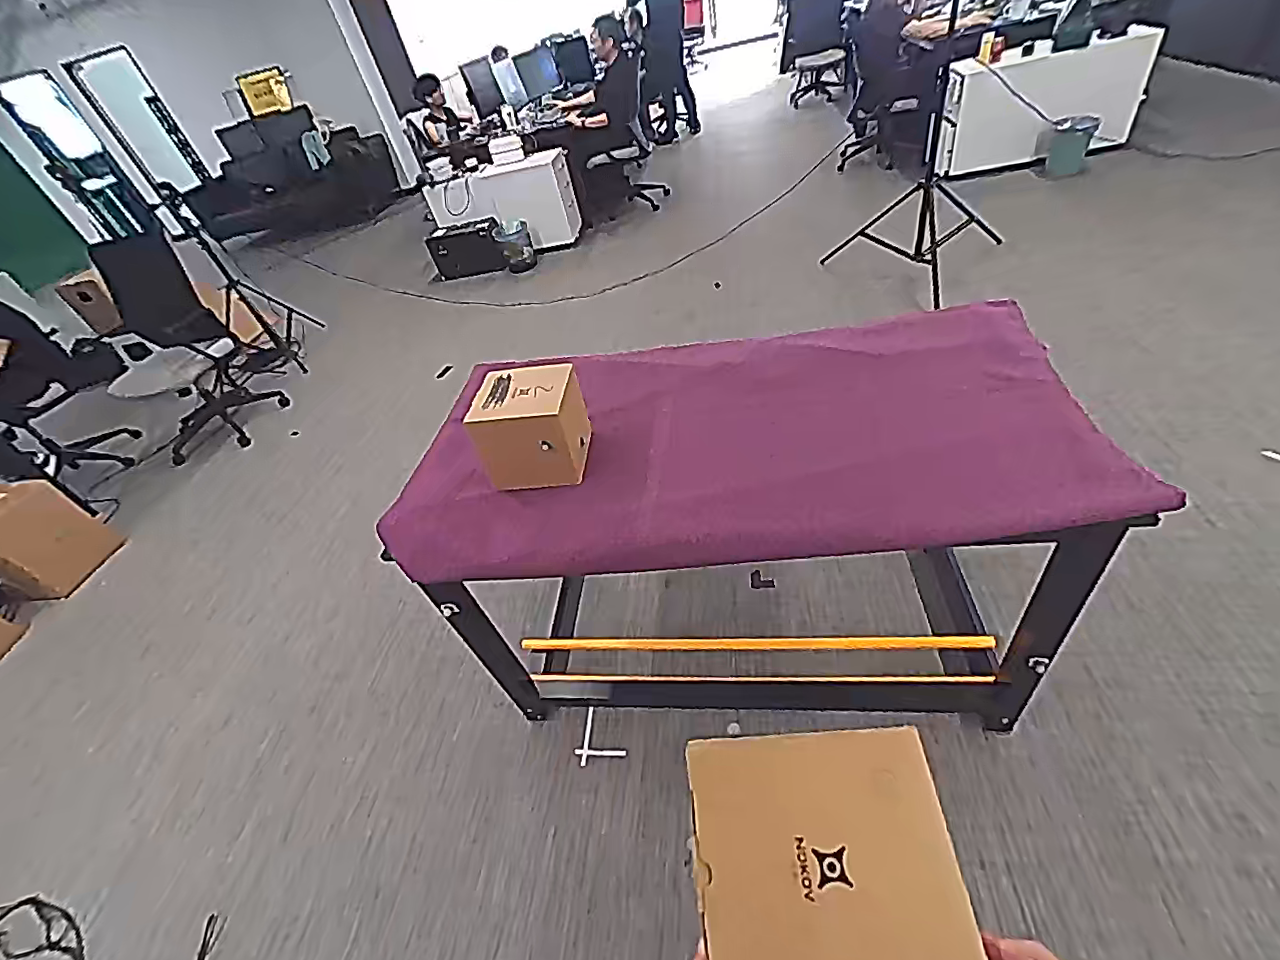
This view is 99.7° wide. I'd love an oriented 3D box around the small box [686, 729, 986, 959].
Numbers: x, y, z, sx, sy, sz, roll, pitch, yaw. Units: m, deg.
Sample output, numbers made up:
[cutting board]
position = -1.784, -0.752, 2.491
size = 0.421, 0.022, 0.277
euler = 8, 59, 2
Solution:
[small box]
position = 0.134, 0.303, 0.432
size = 0.179, 0.176, 0.168
euler = -7, 57, 5
